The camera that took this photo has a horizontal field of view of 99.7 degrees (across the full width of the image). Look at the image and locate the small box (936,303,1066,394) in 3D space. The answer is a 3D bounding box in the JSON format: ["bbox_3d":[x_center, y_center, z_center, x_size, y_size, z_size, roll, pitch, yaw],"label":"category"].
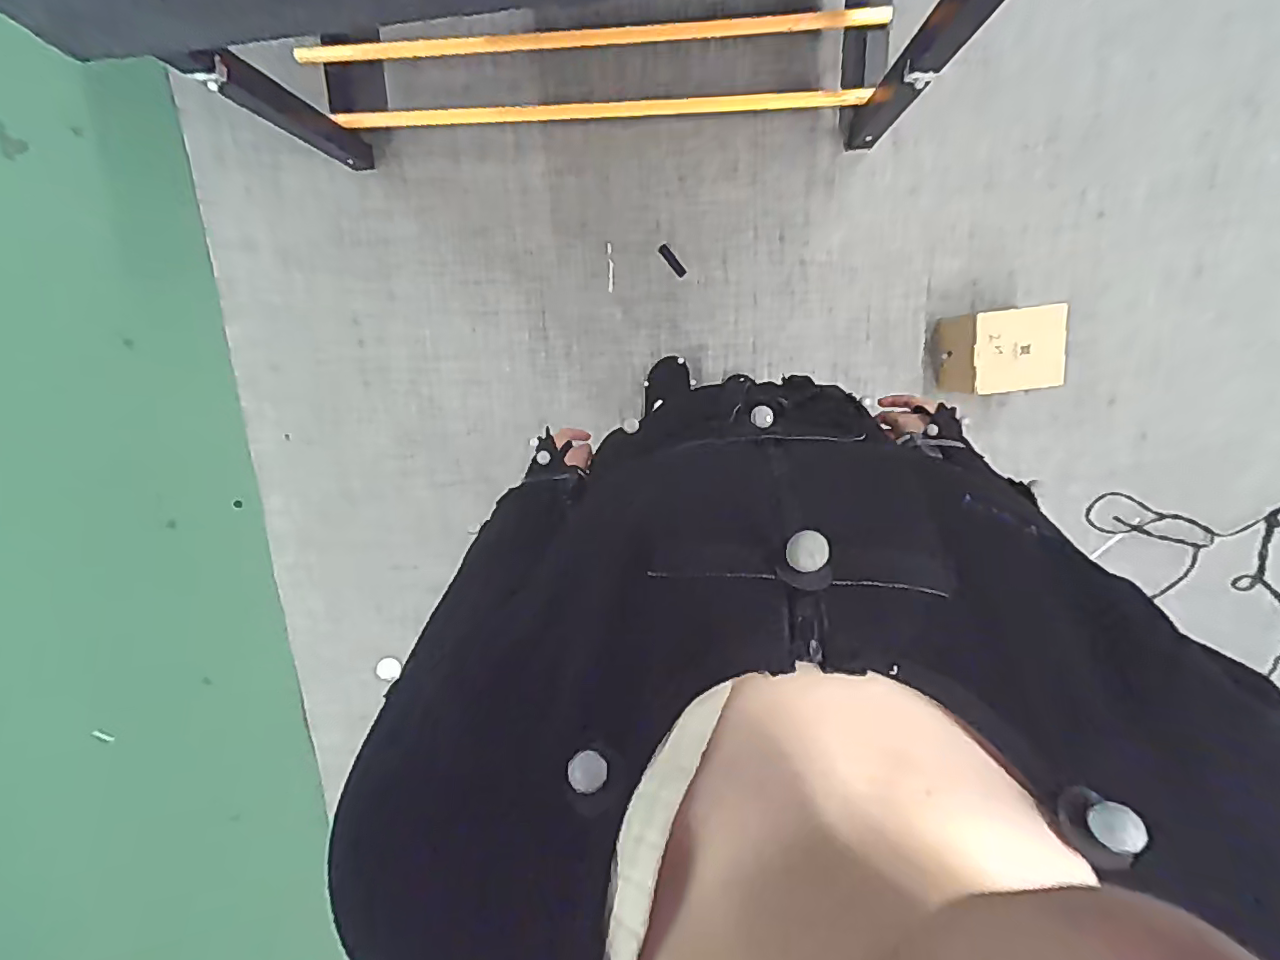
[{"bbox_3d":[0.770,-0.283,1.169,0.179,0.176,0.168,-6,102,6],"label":"small box"}]
